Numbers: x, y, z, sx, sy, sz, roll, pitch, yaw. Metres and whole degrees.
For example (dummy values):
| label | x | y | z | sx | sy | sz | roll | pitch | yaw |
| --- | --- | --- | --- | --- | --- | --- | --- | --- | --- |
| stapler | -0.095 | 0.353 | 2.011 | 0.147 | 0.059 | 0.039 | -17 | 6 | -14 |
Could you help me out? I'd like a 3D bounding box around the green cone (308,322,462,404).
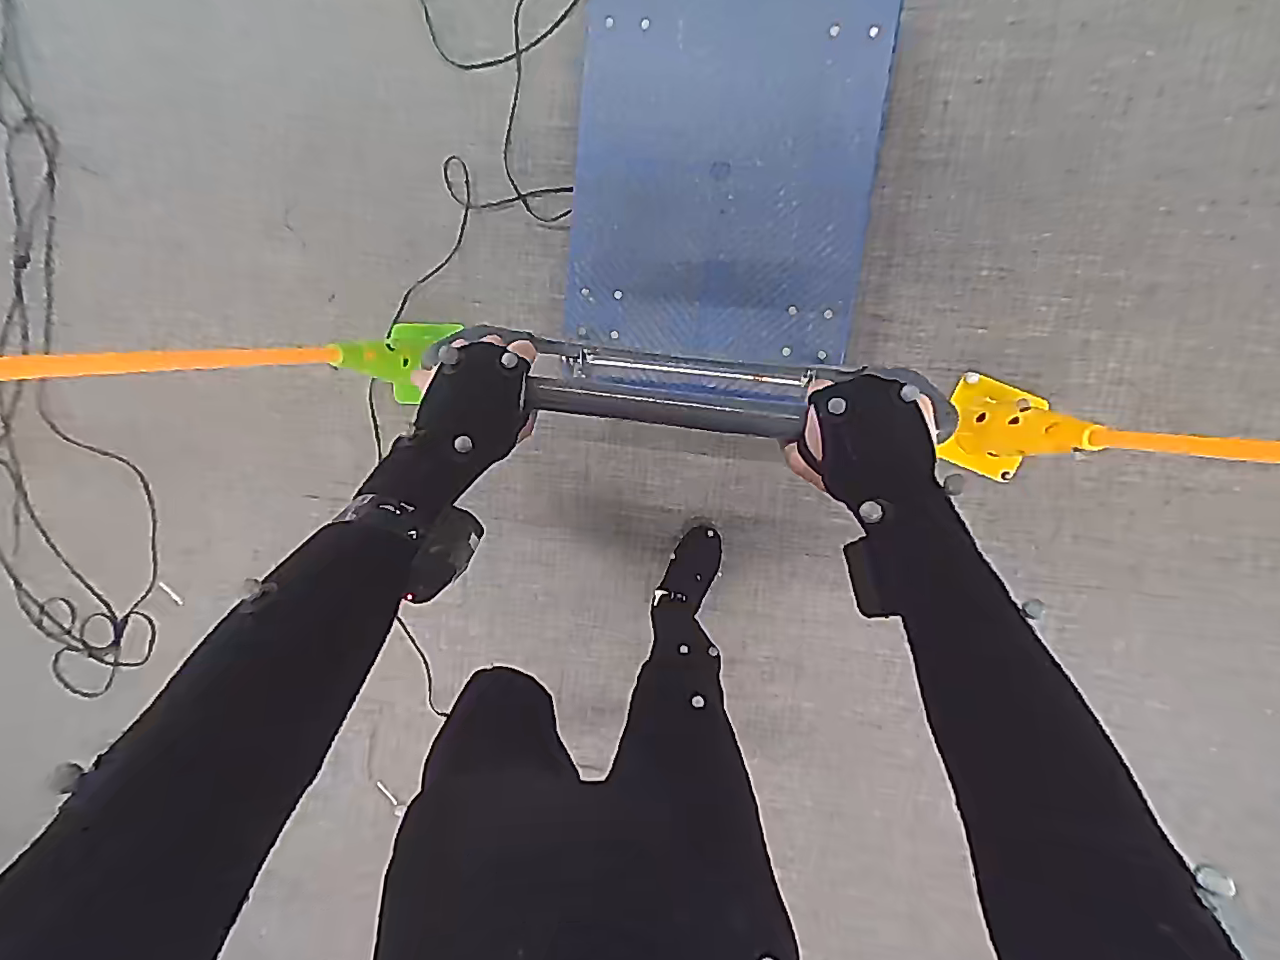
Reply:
| label | x | y | z | sx | sy | sz | roll | pitch | yaw |
| --- | --- | --- | --- | --- | --- | --- | --- | --- | --- |
| green cone | -0.567 | -0.267 | 1.179 | 0.202 | 0.368 | 0.200 | 2 | 99 | 9 |
